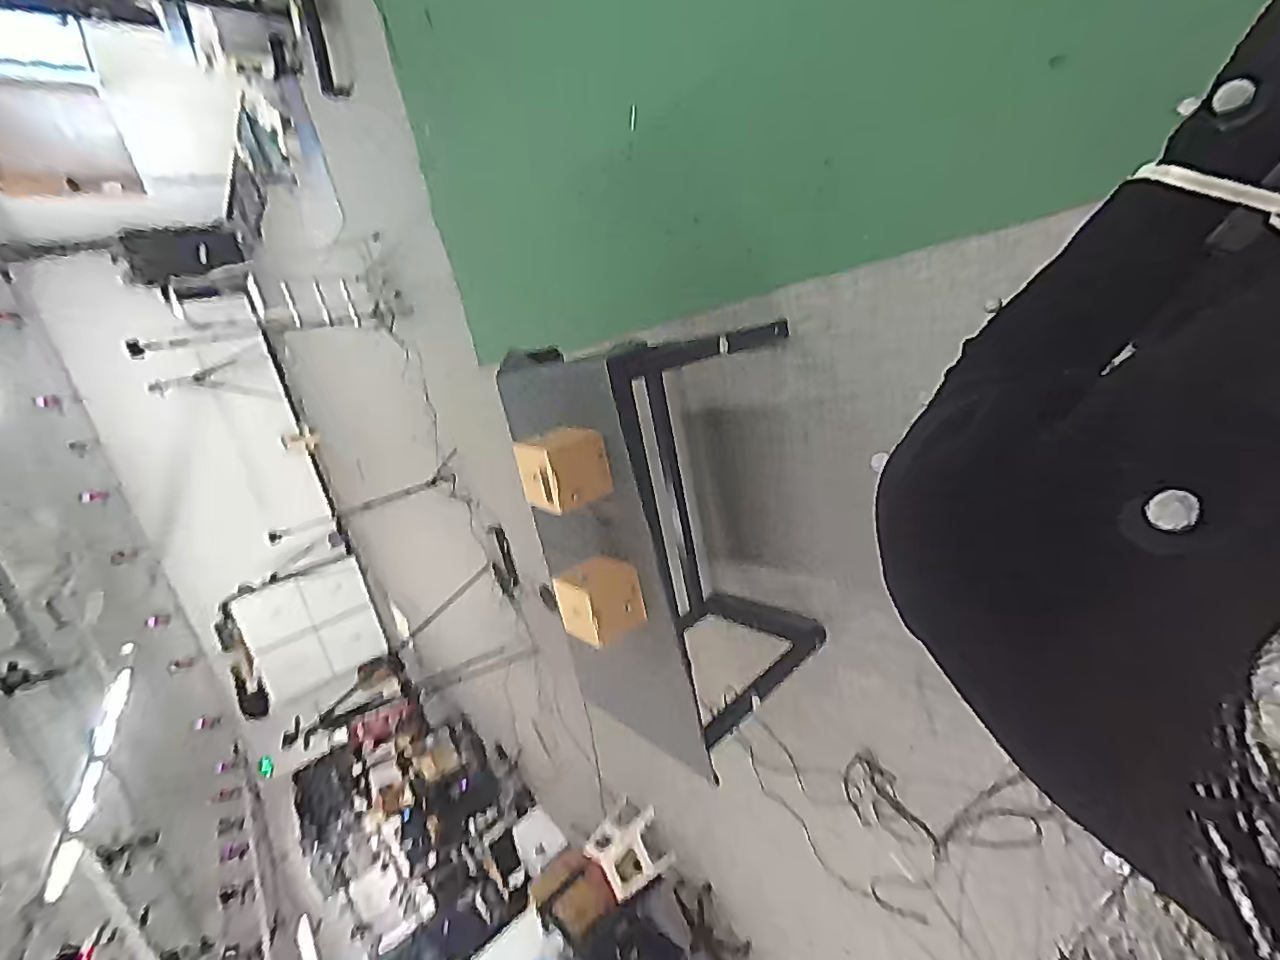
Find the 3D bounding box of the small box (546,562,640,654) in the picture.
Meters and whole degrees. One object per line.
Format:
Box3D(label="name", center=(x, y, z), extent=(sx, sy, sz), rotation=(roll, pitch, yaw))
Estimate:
Box3D(label="small box", center=(-0.126, 0.337, 1.469), extent=(0.179, 0.176, 0.168), rotation=(5, 113, 48))
